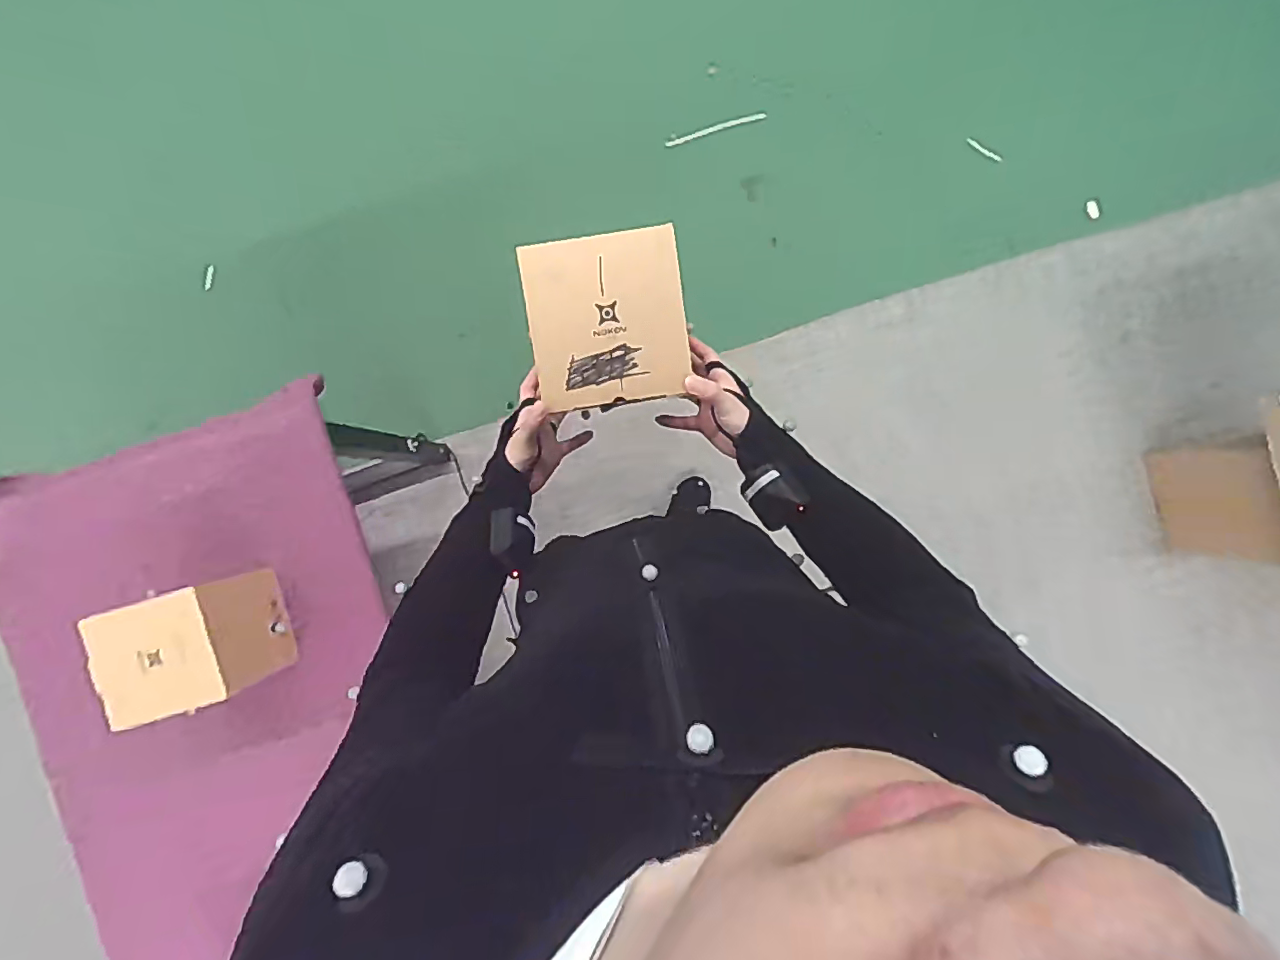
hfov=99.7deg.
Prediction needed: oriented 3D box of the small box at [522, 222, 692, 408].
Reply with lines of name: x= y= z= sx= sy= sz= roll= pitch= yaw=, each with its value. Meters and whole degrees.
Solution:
small box: x=-0.032 y=-0.184 z=0.645 sx=0.168 sy=0.176 sz=0.179 roll=-7 pitch=98 yaw=0

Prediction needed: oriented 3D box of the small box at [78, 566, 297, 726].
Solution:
small box: x=-0.682 y=0.244 z=0.835 sx=0.179 sy=0.176 sz=0.168 roll=-16 pitch=91 yaw=1
